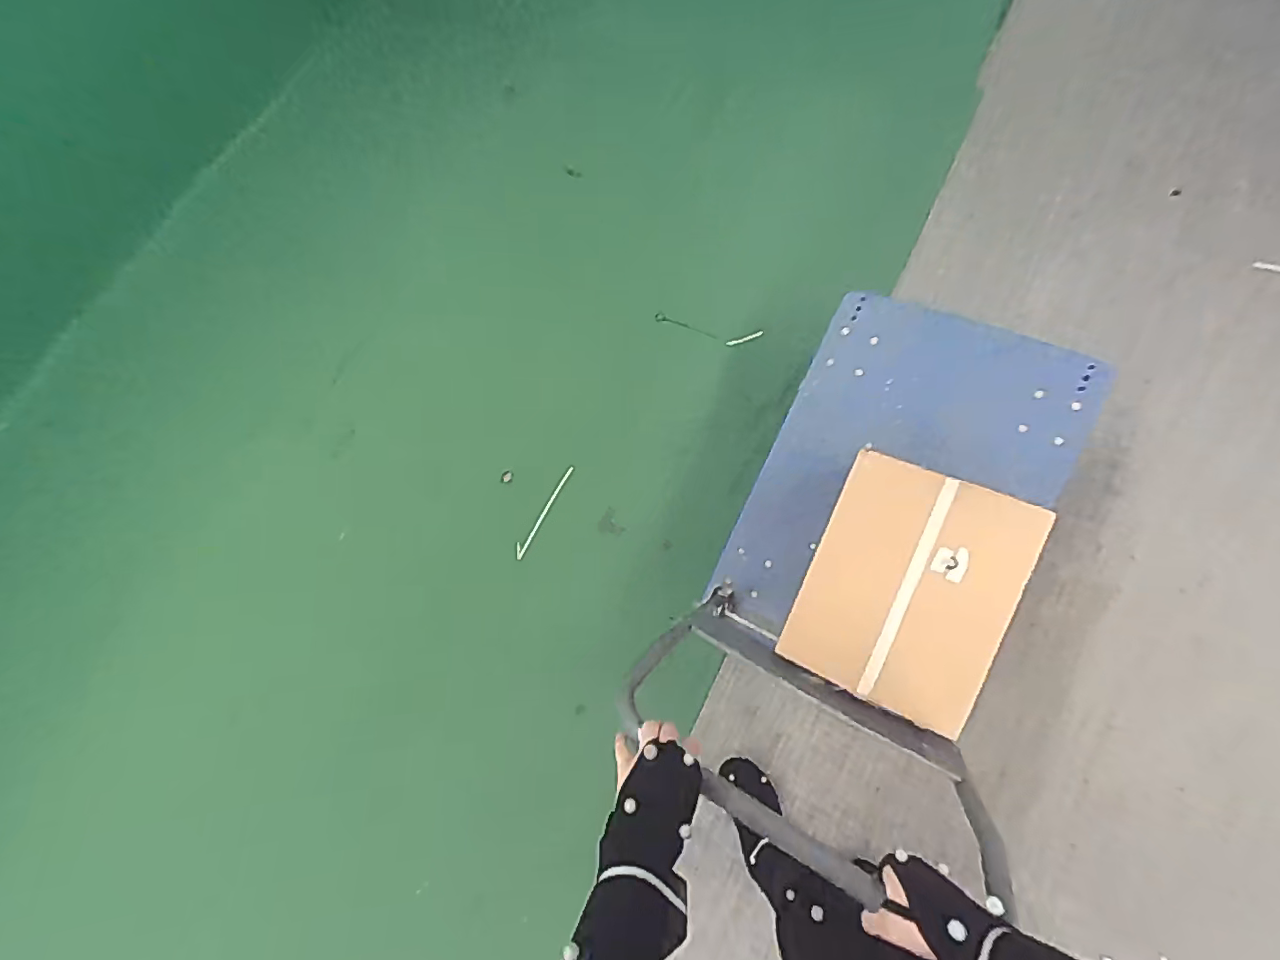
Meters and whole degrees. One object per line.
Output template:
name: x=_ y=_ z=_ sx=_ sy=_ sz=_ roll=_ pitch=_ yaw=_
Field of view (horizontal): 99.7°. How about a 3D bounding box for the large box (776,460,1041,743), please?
large box: x=0.505 y=0.220 z=1.079 sx=0.320 sy=0.320 sz=0.408 roll=24 pitch=91 yaw=20
